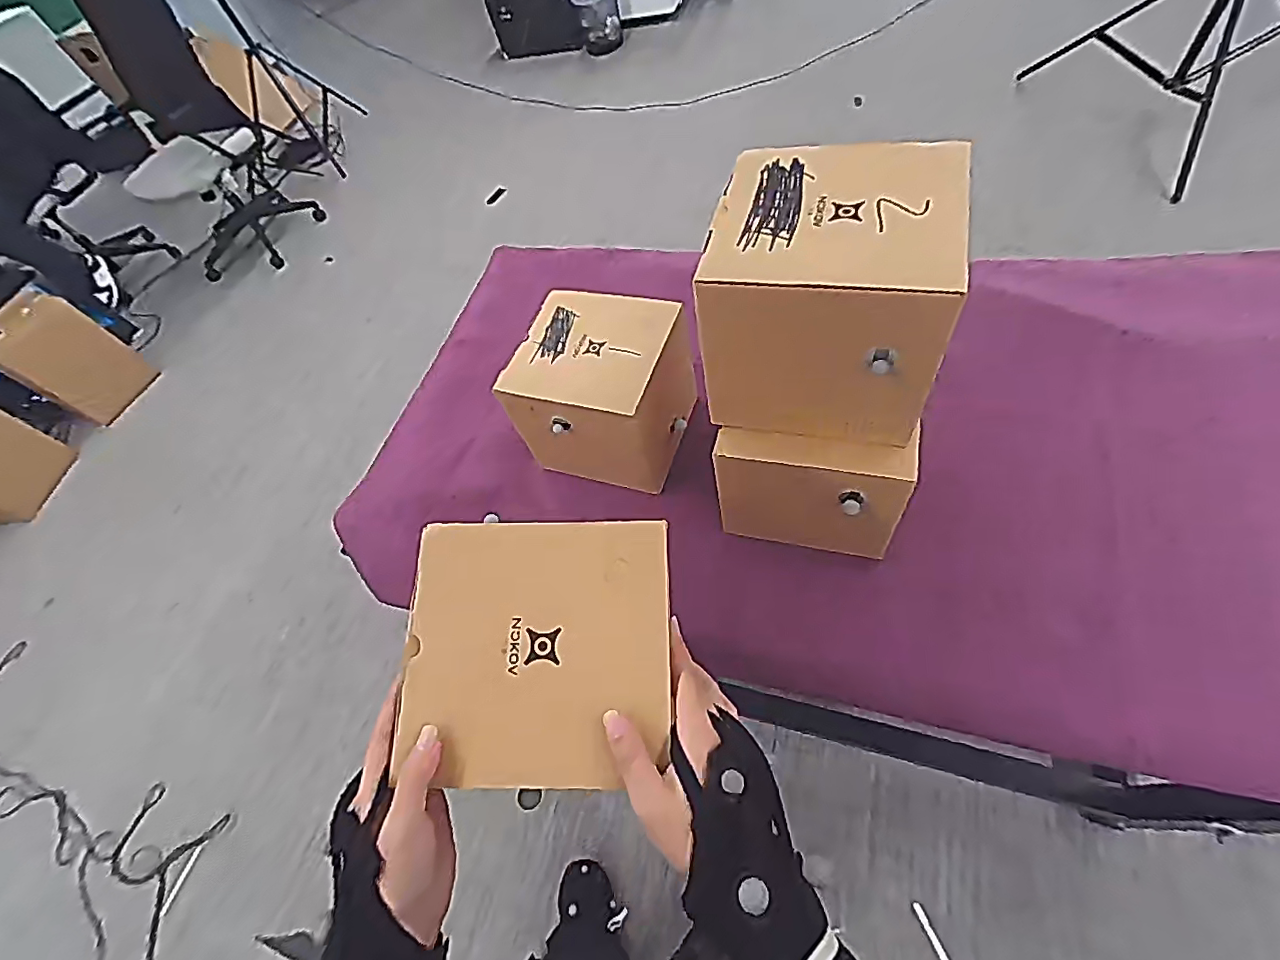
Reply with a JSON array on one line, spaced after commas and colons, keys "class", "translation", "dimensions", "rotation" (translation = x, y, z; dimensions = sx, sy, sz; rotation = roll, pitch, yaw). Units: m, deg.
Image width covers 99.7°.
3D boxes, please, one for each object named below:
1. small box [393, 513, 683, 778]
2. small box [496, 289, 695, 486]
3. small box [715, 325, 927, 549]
[{"class": "small box", "translation": [-0.059, 0.128, 0.424], "dimensions": [0.179, 0.176, 0.168], "rotation": [-2, 68, 3]}, {"class": "small box", "translation": [-0.041, -0.111, 0.678], "dimensions": [0.179, 0.176, 0.168], "rotation": [13, 63, 19]}, {"class": "small box", "translation": [0.188, -0.041, 0.580], "dimensions": [0.179, 0.176, 0.168], "rotation": [9, 60, 18]}]
